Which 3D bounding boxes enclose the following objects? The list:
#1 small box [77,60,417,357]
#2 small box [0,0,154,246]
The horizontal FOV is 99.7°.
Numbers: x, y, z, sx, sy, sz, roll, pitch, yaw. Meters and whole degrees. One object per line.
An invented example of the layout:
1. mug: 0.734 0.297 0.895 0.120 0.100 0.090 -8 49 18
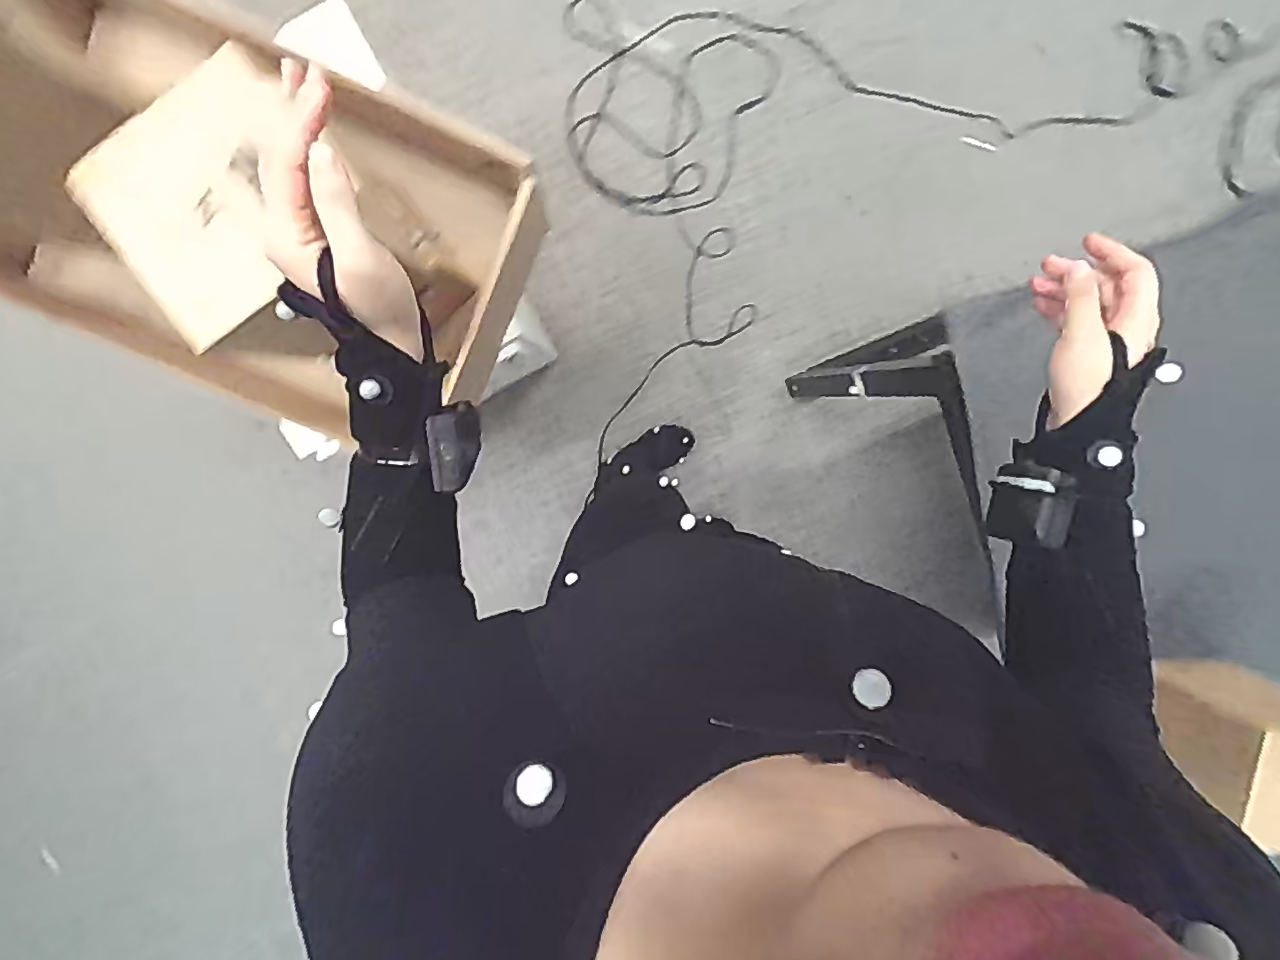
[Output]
1. small box: -0.346 -0.236 0.524 0.179 0.176 0.168 -32 98 6
2. small box: -0.606 -0.346 0.496 0.179 0.176 0.168 39 98 -10
